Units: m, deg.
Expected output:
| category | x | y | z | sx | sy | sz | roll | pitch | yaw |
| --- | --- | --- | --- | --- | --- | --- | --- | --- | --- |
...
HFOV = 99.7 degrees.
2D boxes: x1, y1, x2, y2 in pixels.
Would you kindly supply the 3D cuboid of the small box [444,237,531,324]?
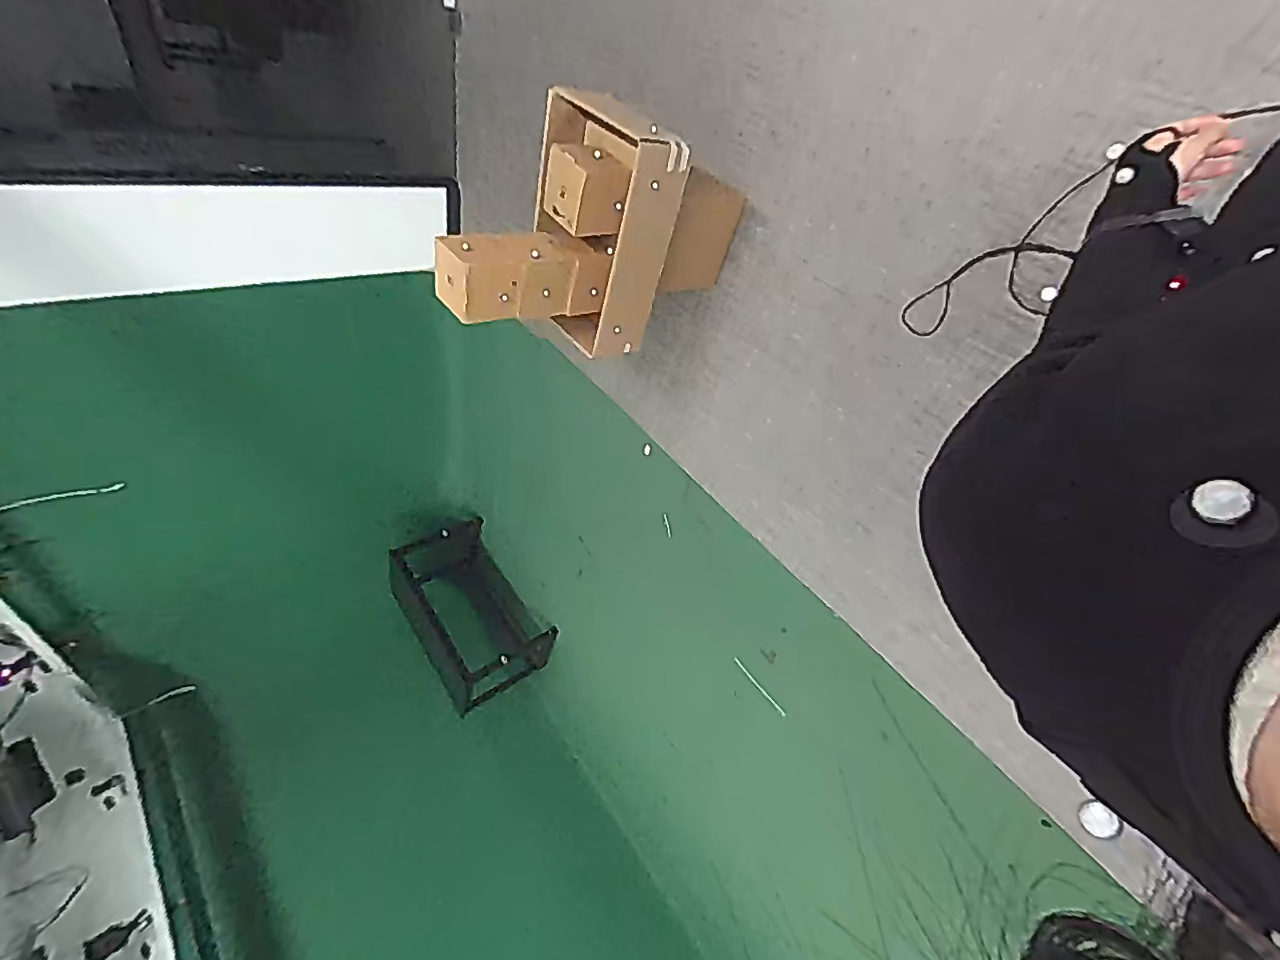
| category | x | y | z | sx | sy | sz | roll | pitch | yaw |
| --- | --- | --- | --- | --- | --- | --- | --- | --- | --- |
| small box | -0.421 | -0.550 | 1.482 | 0.179 | 0.176 | 0.168 | 46 | 138 | 28 |
